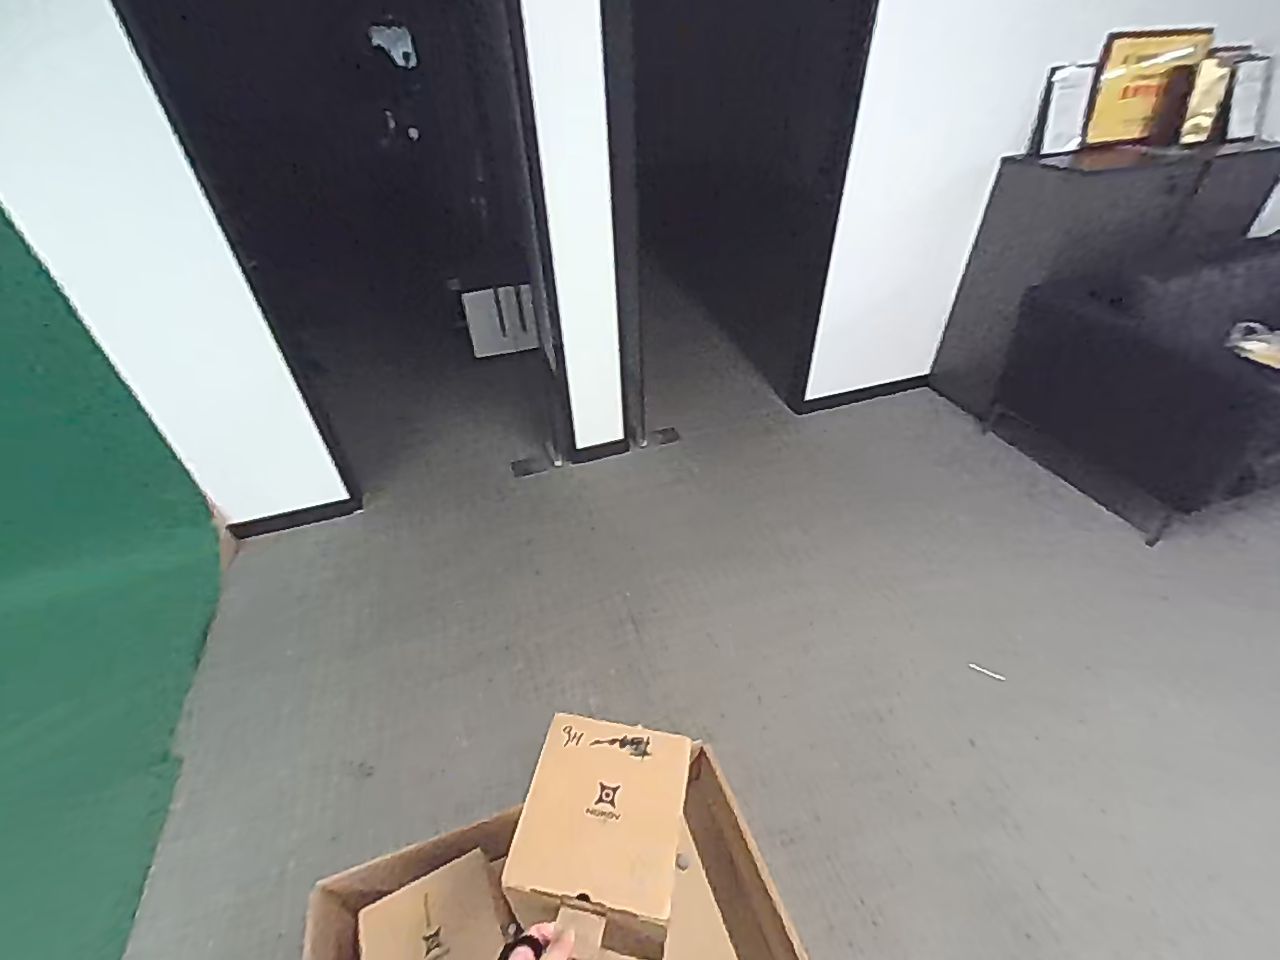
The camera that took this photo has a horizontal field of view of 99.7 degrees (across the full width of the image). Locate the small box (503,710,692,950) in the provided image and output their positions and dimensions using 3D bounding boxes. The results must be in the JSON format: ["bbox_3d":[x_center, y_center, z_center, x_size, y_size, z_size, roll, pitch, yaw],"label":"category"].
[{"bbox_3d":[-0.033,0.395,0.612,0.168,0.176,0.179,6,41,9],"label":"small box"}]
